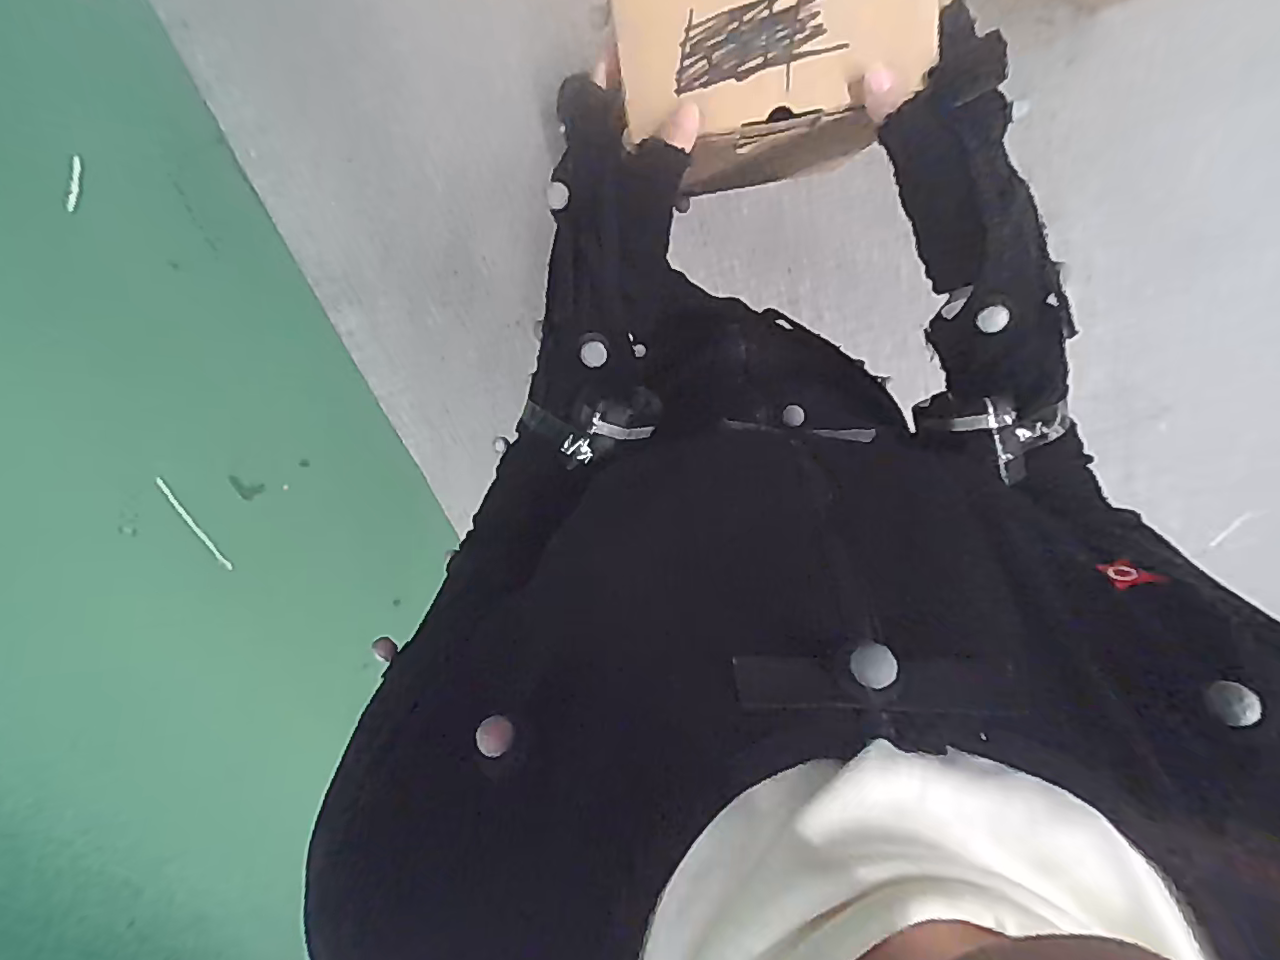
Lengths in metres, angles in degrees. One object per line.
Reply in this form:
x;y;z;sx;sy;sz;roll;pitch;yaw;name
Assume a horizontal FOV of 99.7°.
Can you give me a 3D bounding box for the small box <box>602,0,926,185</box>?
0.063;-0.307;0.345;0.168;0.176;0.179;-8;105;5;small box
